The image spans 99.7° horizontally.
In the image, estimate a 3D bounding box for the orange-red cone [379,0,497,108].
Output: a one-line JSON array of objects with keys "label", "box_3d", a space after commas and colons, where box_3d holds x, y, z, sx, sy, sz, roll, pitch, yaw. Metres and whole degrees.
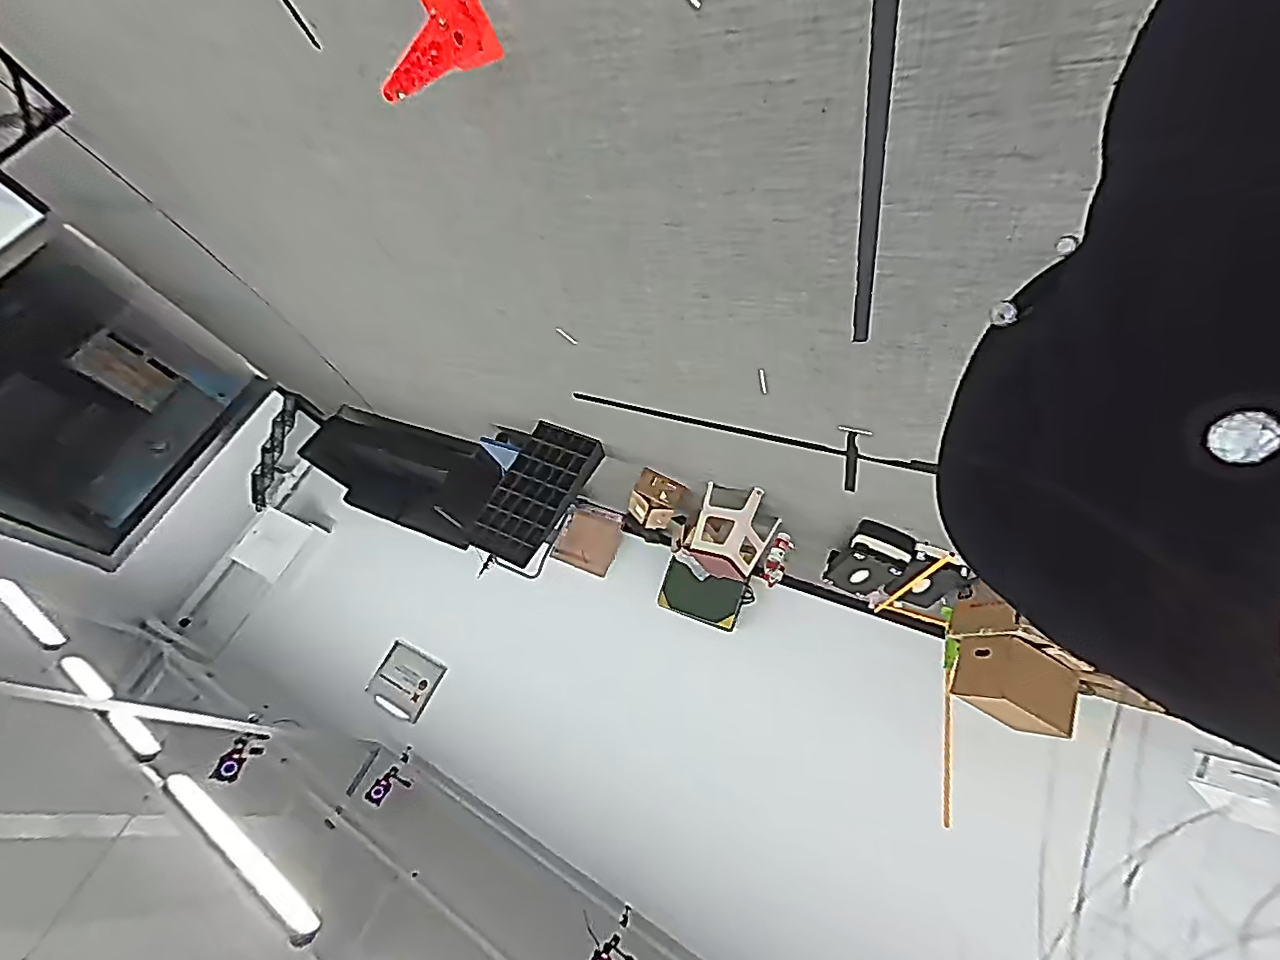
[{"label": "orange-red cone", "box_3d": [-0.589, -1.136, 1.476, 0.198, 0.360, 0.199, 15, 157, 32]}]
